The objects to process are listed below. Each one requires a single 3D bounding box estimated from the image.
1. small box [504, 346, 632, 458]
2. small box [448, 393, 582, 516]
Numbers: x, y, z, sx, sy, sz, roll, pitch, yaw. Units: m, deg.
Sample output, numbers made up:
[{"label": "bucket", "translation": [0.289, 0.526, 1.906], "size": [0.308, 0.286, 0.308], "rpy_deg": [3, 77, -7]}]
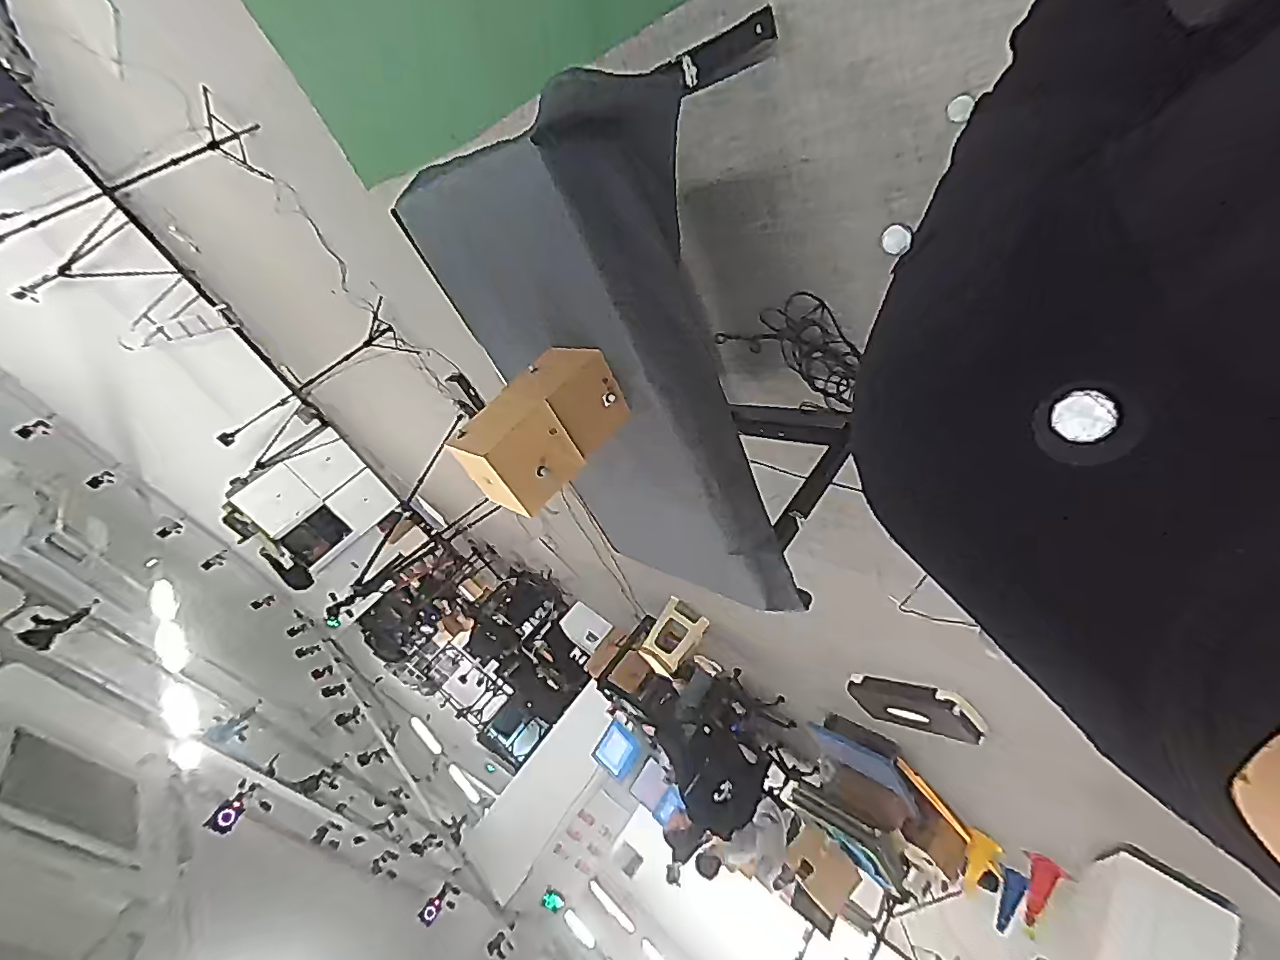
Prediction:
[{"label": "small box", "translation": [-0.149, -0.173, 1.157], "size": [0.179, 0.176, 0.168], "rpy_deg": [14, 145, 44]}, {"label": "small box", "translation": [-0.241, -0.058, 1.087], "size": [0.179, 0.176, 0.168], "rpy_deg": [16, 146, 47]}]
